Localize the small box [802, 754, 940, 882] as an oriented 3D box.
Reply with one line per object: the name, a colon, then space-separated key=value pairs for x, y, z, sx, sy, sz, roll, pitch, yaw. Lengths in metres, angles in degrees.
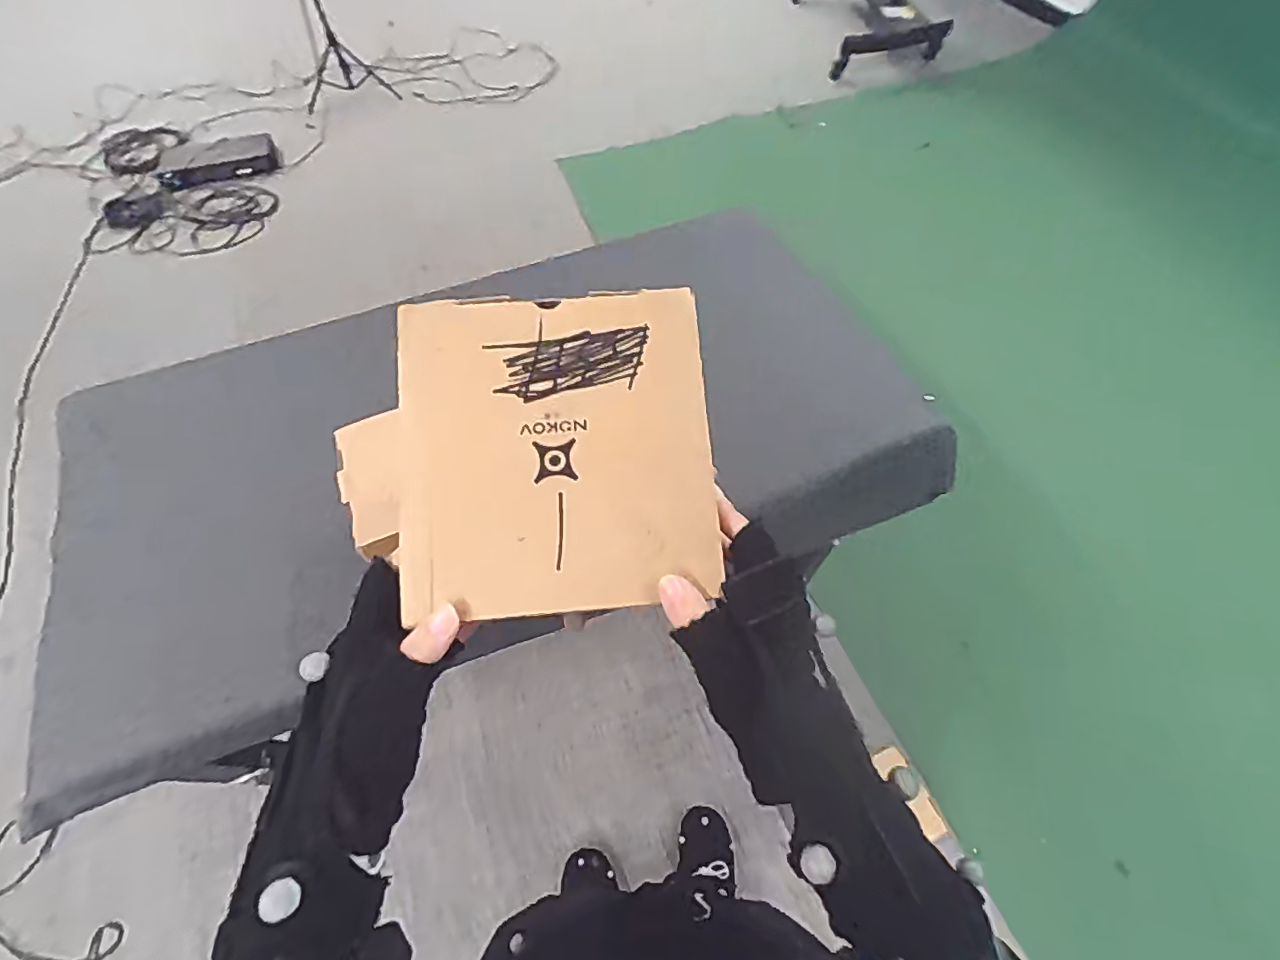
small box: x=0.463 y=0.690 z=1.117 sx=0.179 sy=0.176 sz=0.168 roll=-21 pitch=60 yaw=-11

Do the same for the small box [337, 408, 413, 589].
small box: x=-0.236 y=0.023 z=0.663 sx=0.179 sy=0.176 sz=0.168 roll=-20 pitch=60 yaw=-12

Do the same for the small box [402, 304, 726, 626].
small box: x=-0.044 y=0.003 z=0.368 sx=0.168 sy=0.176 sz=0.179 roll=-3 pitch=79 yaw=-2
